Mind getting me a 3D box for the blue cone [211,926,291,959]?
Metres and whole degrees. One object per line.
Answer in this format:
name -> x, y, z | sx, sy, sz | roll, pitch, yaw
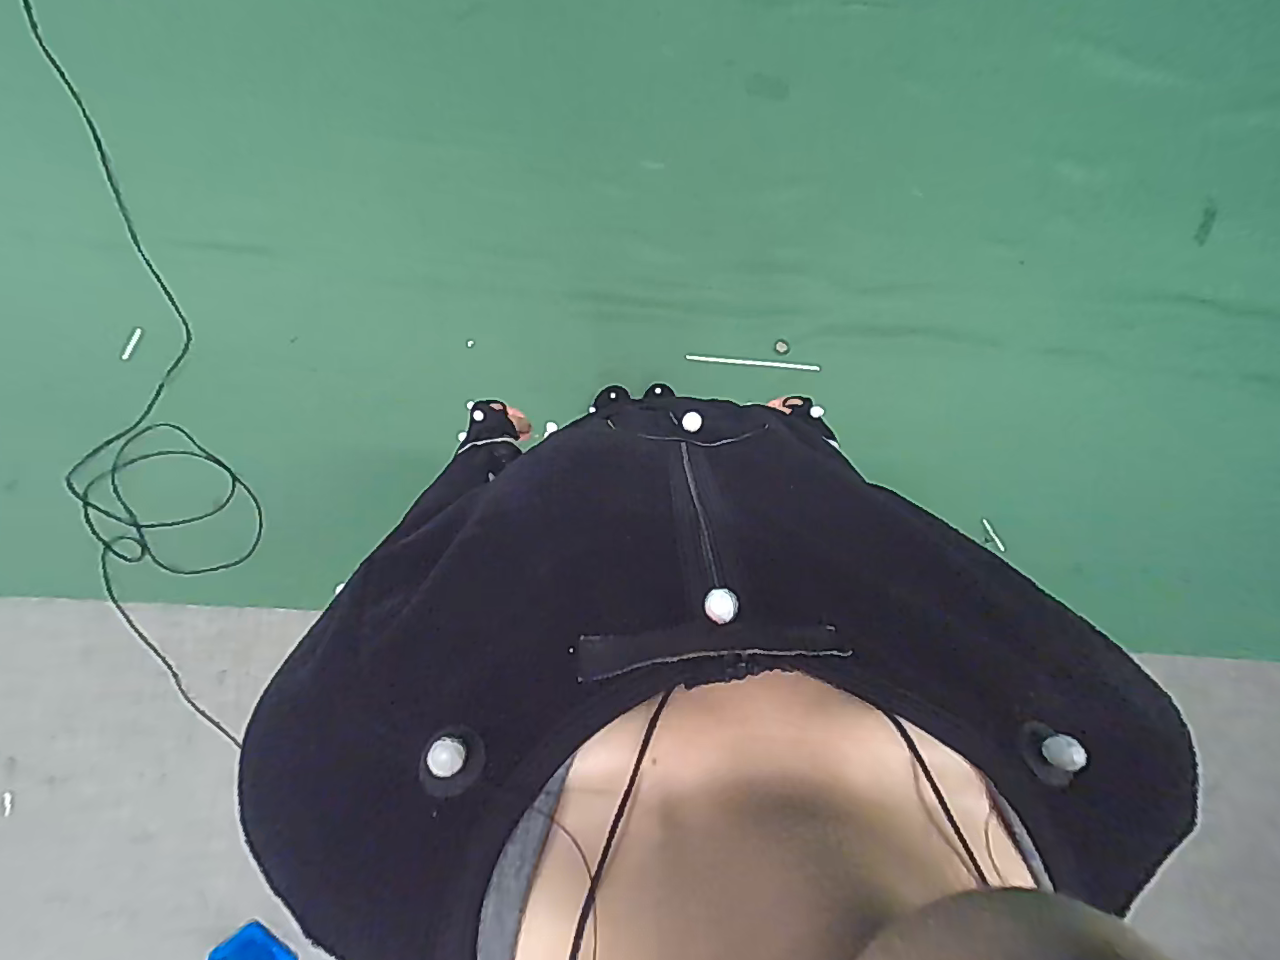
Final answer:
blue cone -> -1.166, 1.485, 1.474 | 0.193, 0.380, 0.192 | -39, 101, 5
